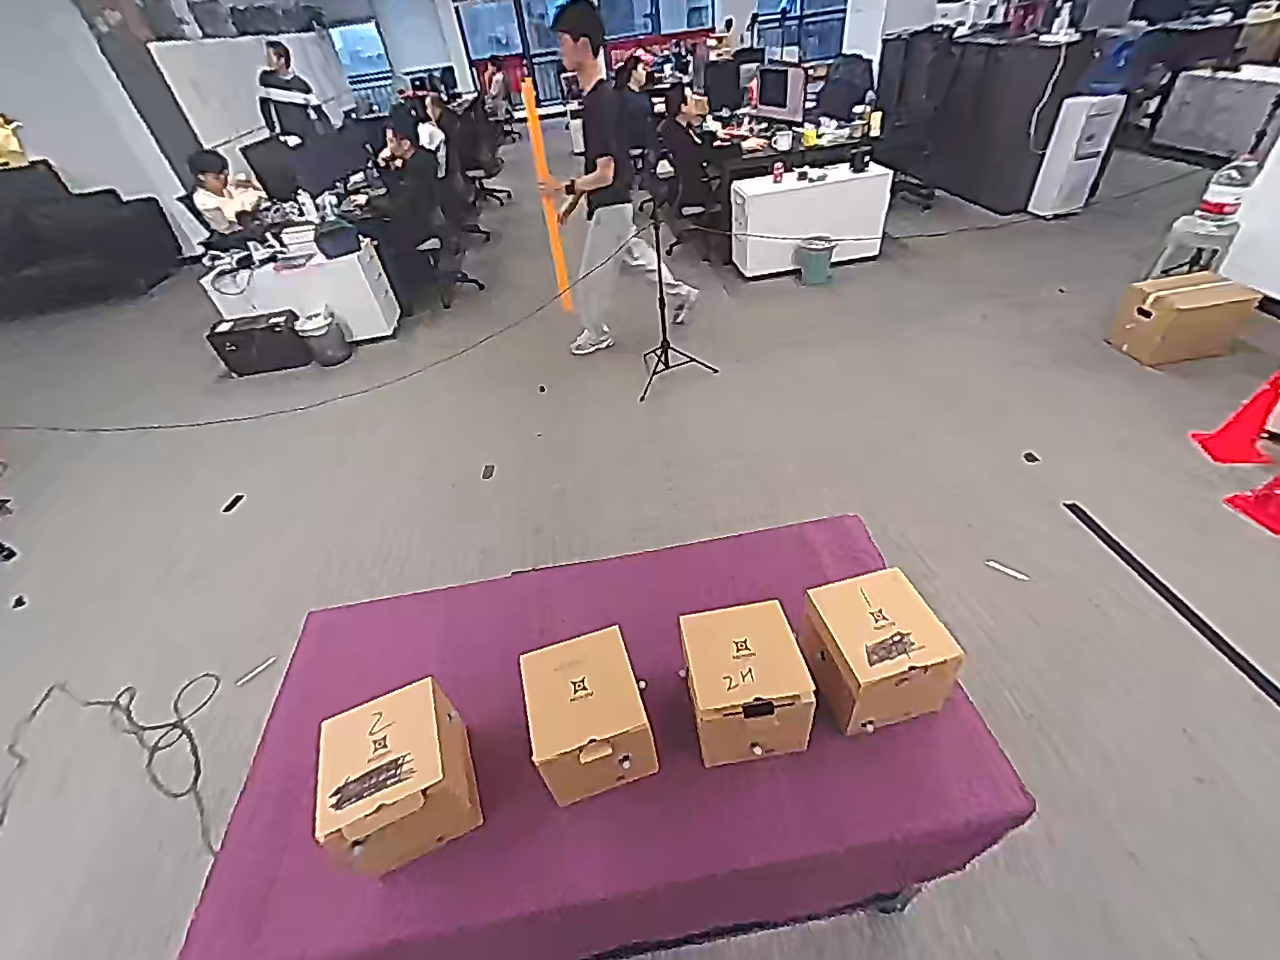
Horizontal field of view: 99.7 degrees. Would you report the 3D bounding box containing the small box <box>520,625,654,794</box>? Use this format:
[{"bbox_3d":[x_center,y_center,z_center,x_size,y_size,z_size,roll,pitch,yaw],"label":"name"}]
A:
[{"bbox_3d":[-0.081,0.368,0.857,0.168,0.176,0.179,-15,41,-9],"label":"small box"}]

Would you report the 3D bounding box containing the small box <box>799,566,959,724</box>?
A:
[{"bbox_3d":[0.376,0.276,0.885,0.168,0.176,0.179,-13,40,-5],"label":"small box"}]

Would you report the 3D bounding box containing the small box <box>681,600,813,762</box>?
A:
[{"bbox_3d":[0.161,0.321,0.868,0.168,0.176,0.179,-9,41,-1],"label":"small box"}]
